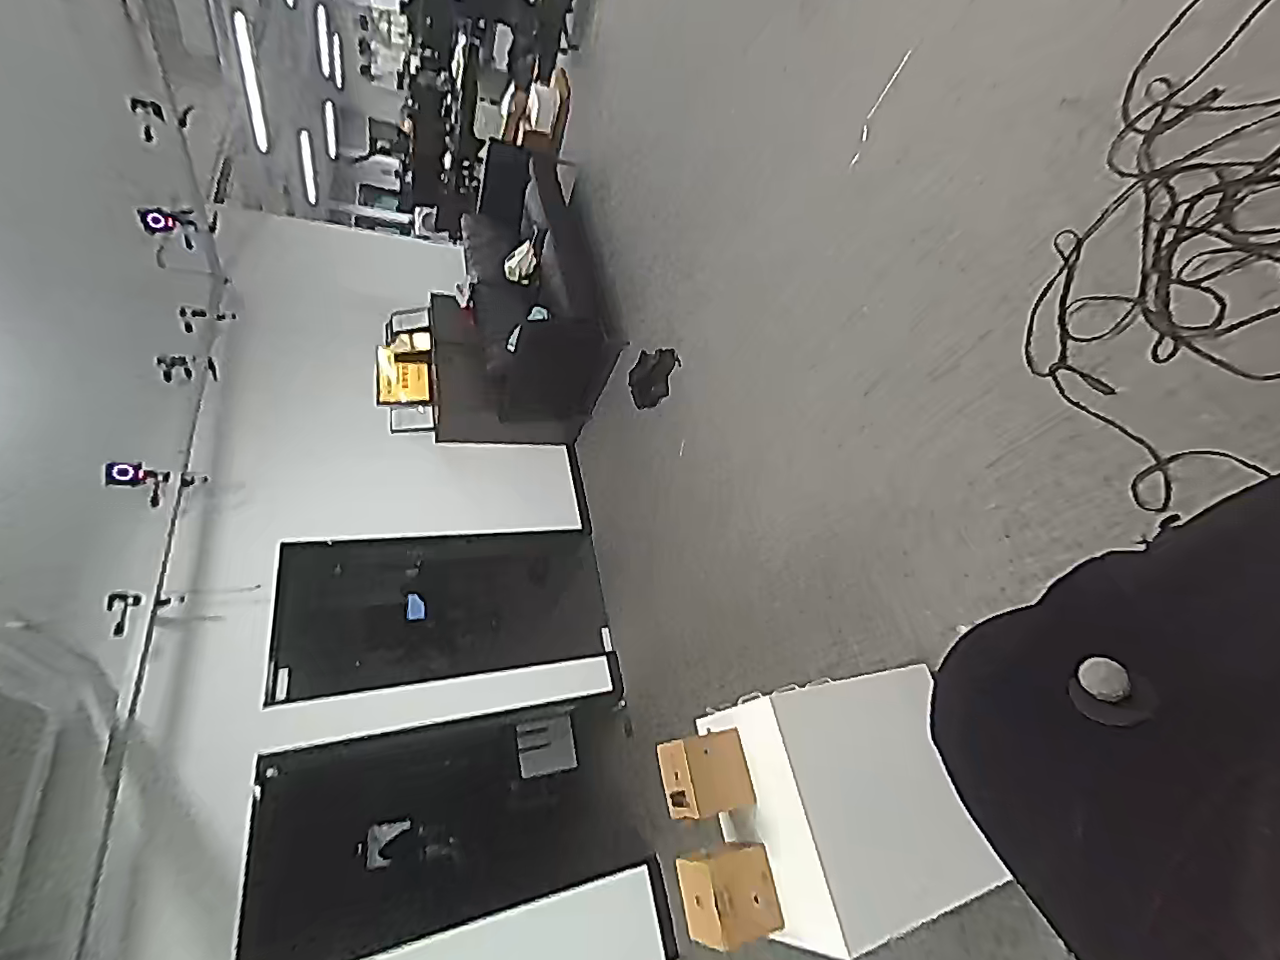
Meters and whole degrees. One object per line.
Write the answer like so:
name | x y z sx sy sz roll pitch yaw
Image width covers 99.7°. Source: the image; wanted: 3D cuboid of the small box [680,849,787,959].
small box | 0.220 1.004 1.297 0.179 0.176 0.168 127 137 -51
